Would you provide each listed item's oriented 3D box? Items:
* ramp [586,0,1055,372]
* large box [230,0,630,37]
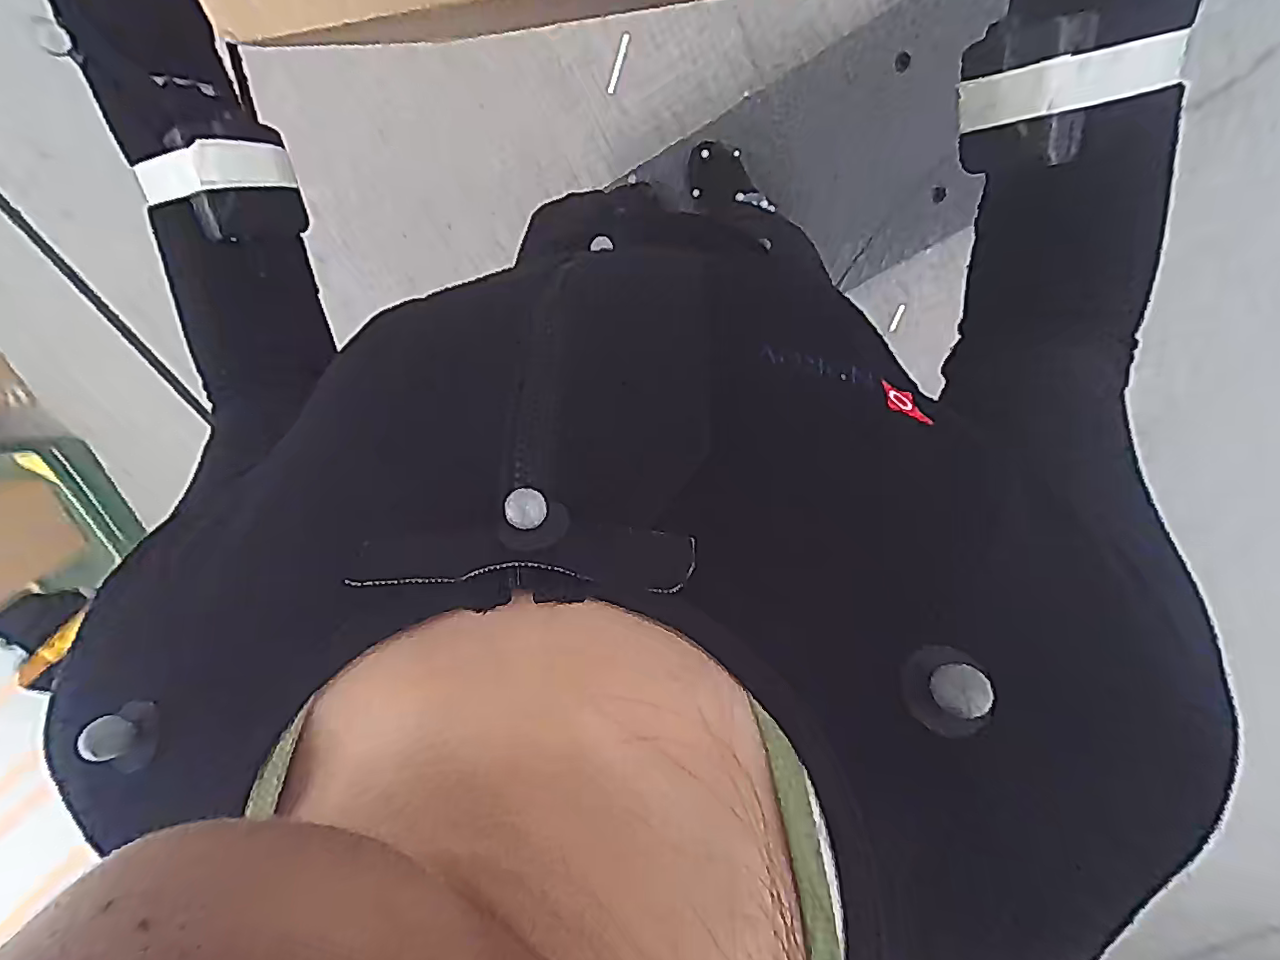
[{"bbox_3d":[0.419,-0.699,1.259,0.991,0.206,0.509,-25,113,20],"label":"ramp"},{"bbox_3d":[-0.029,-0.468,0.294,0.408,0.320,0.320,-2,128,7],"label":"large box"}]
